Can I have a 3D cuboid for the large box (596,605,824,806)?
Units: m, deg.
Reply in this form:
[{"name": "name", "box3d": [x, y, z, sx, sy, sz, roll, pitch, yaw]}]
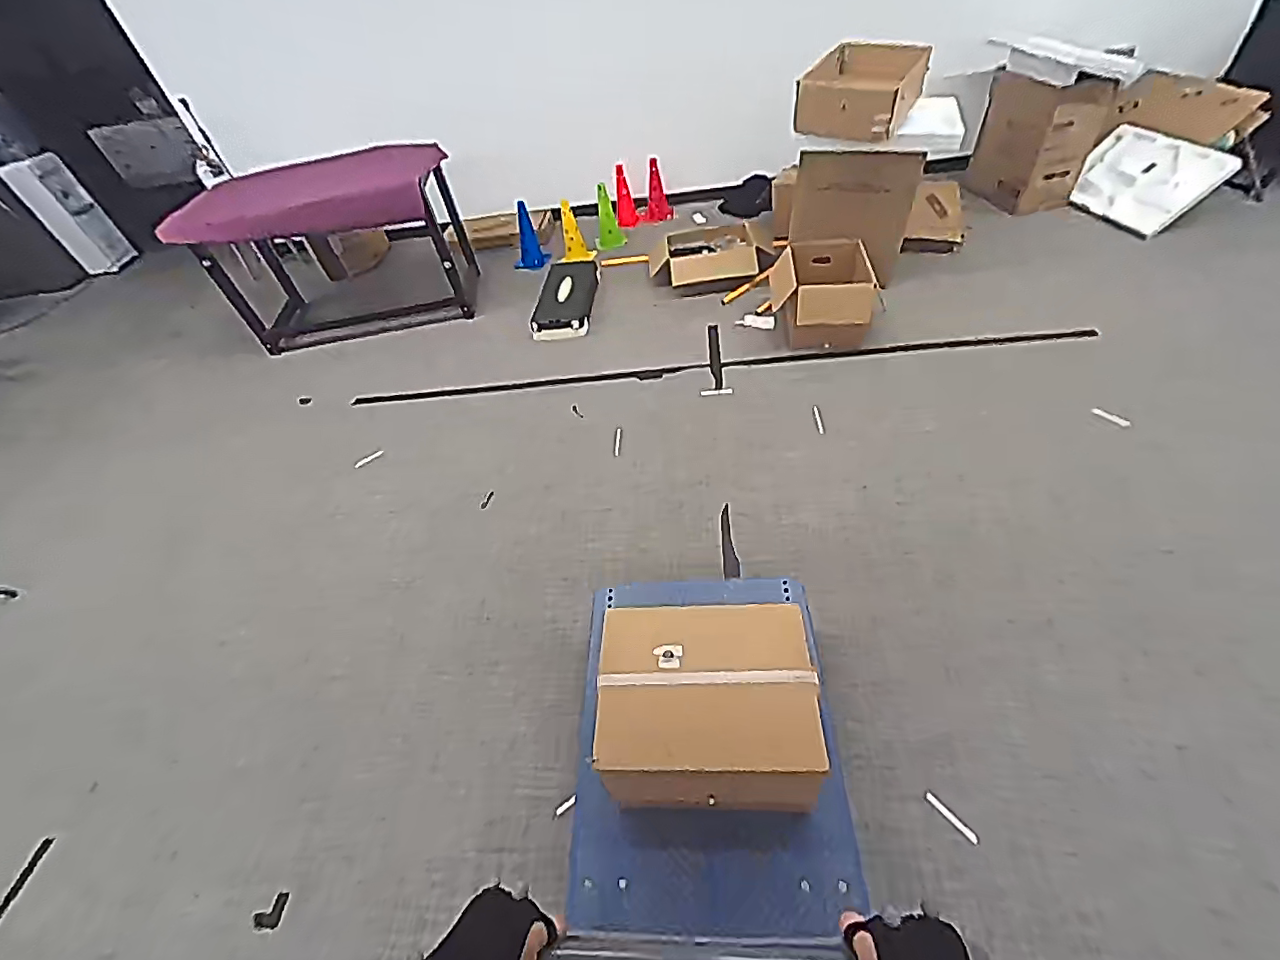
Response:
[{"name": "large box", "box3d": [0.142, 0.487, 1.147, 0.408, 0.320, 0.320, -4, 47, 7]}]
